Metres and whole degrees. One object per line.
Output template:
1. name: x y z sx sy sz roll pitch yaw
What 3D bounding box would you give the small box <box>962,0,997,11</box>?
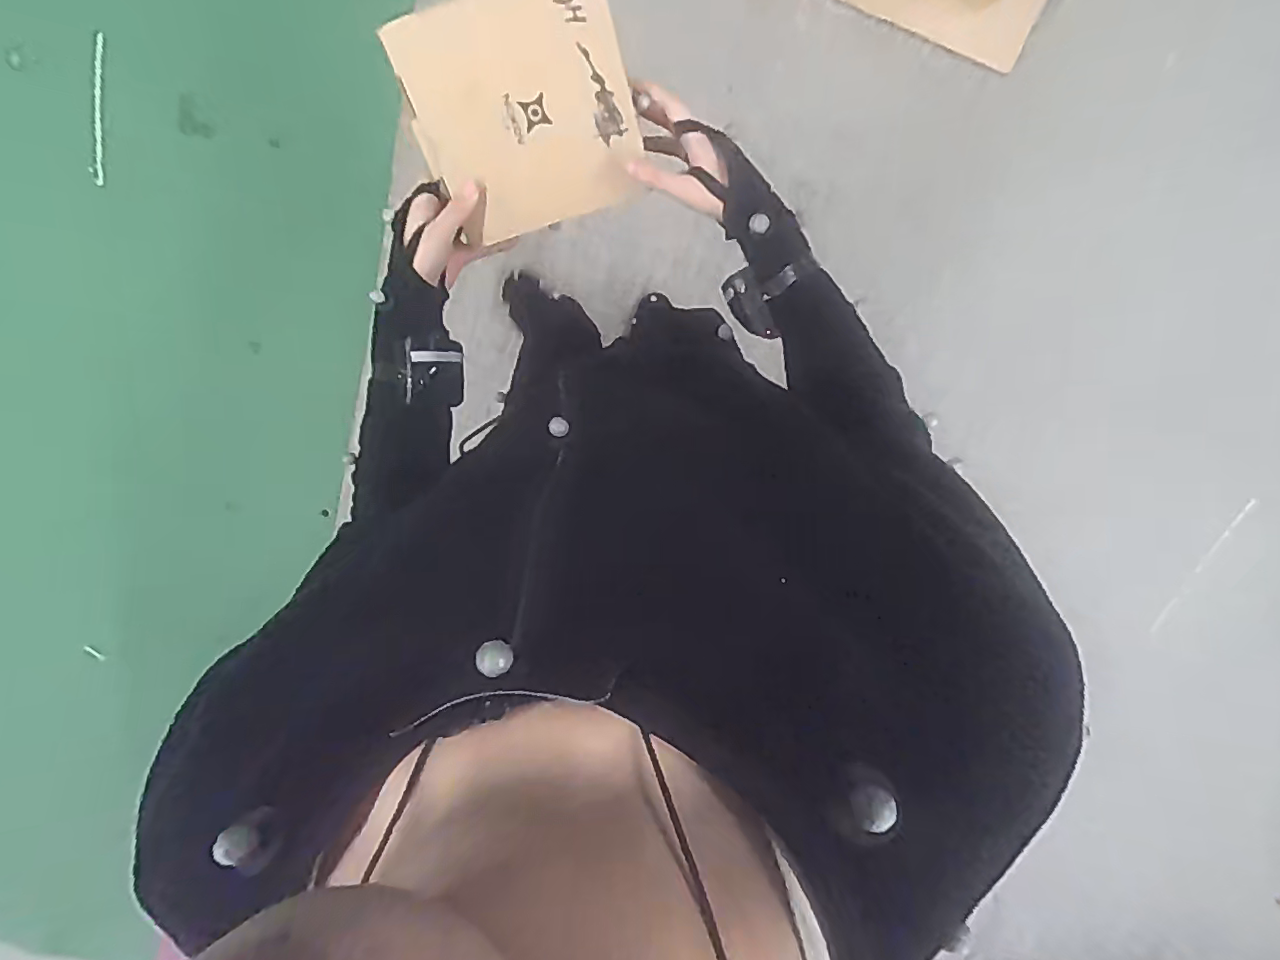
1. small box: 0.687 -1.062 1.036 0.168 0.176 0.179 21 109 -9
